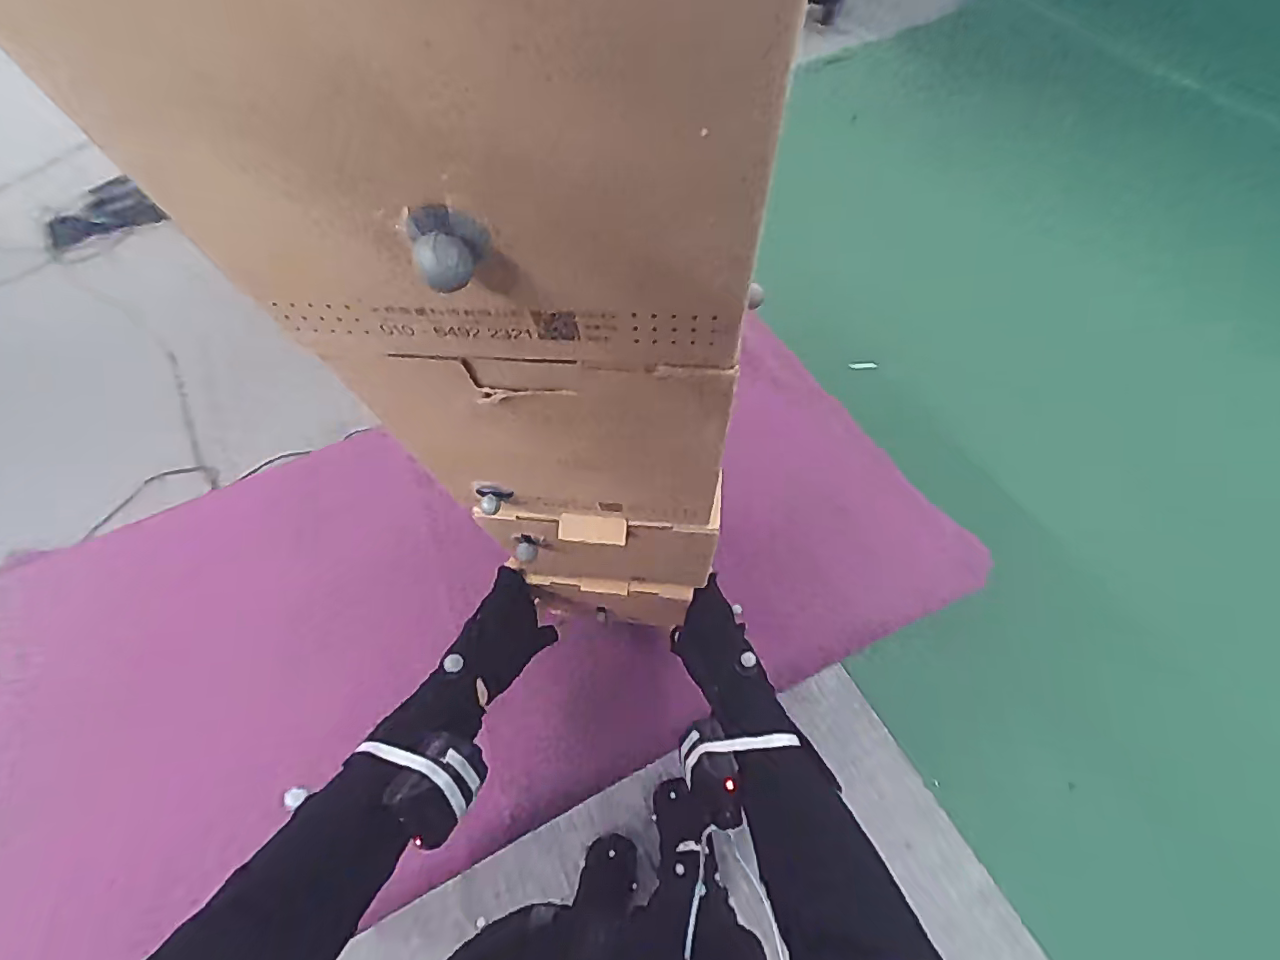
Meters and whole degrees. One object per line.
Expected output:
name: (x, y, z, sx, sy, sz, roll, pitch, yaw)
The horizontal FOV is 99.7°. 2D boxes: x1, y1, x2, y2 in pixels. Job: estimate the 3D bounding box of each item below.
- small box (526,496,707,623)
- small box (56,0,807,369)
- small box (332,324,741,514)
small box: (-0.014, 0.052, 0.608, 0.168, 0.176, 0.179, 6, 68, 5)
small box: (-0.041, -0.157, 0.161, 0.168, 0.176, 0.179, 4, 67, 5)
small box: (-0.028, -0.091, 0.311, 0.168, 0.176, 0.179, 5, 66, 5)
